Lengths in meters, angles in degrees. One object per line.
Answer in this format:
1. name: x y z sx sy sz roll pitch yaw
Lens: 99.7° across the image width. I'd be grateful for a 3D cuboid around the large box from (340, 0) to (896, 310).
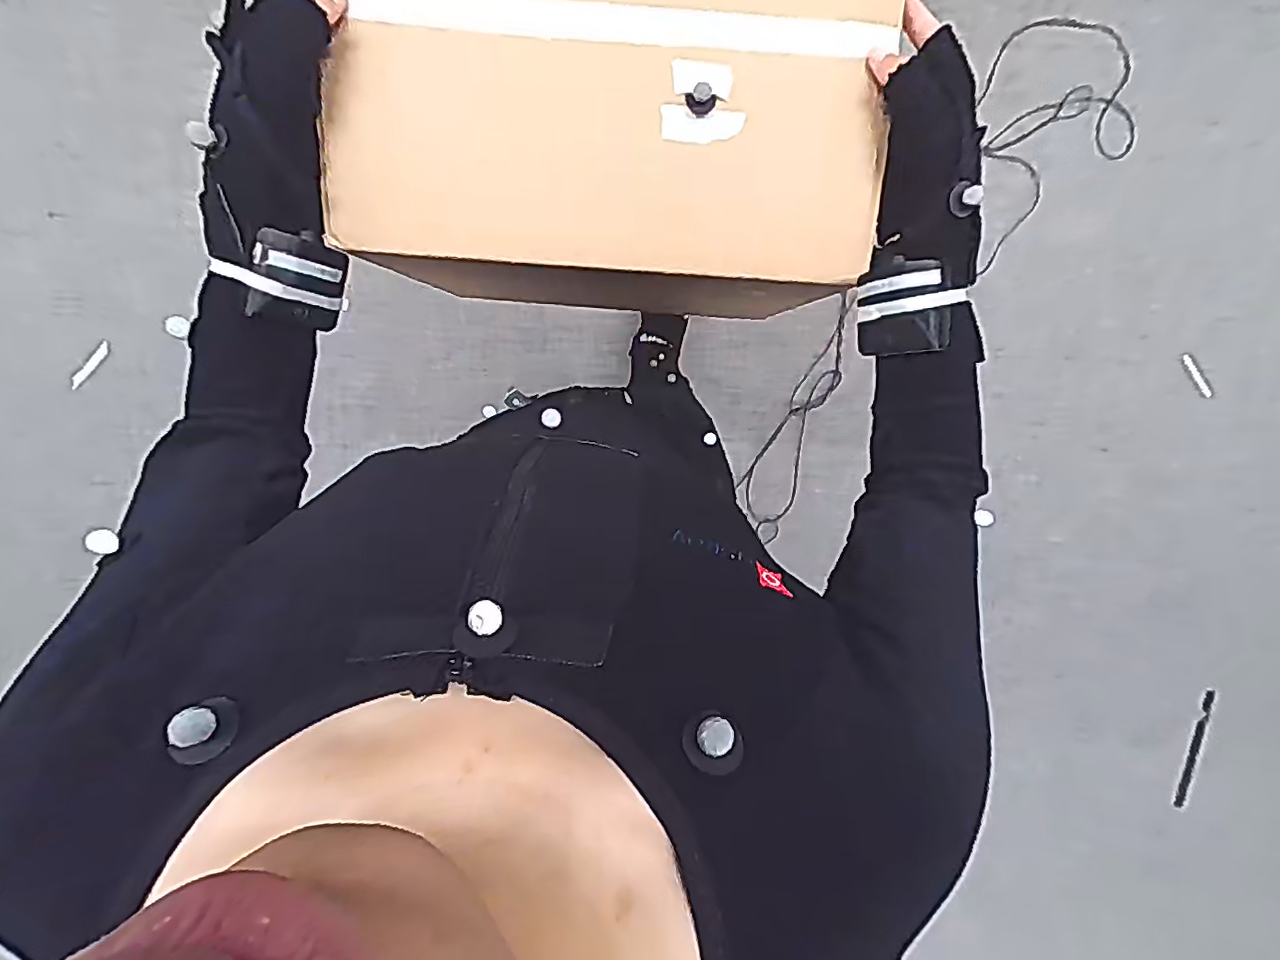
1. large box: -0.020 -0.353 0.535 0.408 0.320 0.320 3 102 -2
